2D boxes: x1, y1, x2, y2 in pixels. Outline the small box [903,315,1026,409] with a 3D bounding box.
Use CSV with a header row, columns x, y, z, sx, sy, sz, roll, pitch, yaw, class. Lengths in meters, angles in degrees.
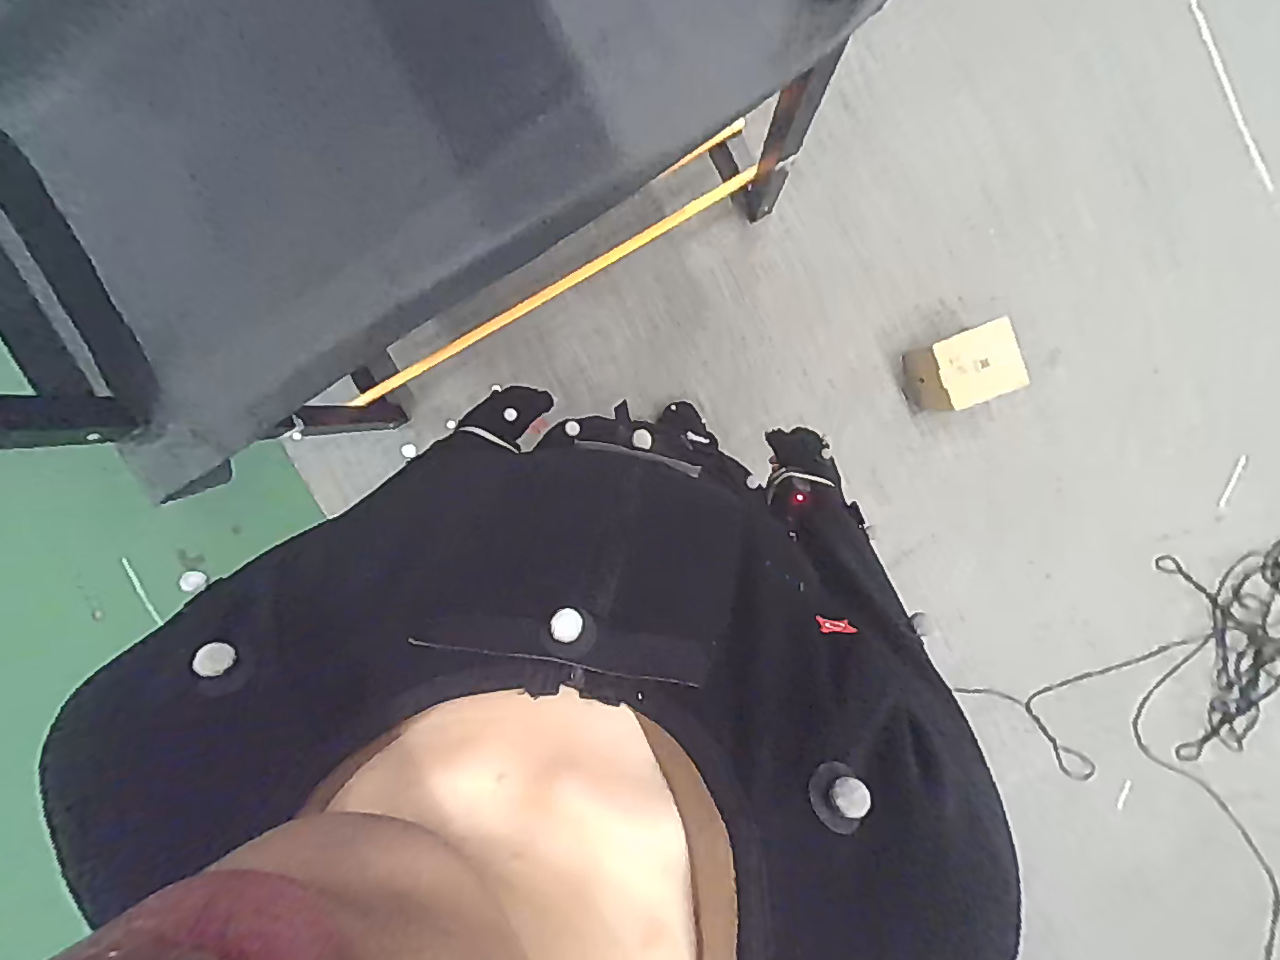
x,y,z,sx,sy,sz,roll,pitch,yaw,class
0.774,-0.279,1.306,0.179,0.176,0.168,-21,95,8,small box
